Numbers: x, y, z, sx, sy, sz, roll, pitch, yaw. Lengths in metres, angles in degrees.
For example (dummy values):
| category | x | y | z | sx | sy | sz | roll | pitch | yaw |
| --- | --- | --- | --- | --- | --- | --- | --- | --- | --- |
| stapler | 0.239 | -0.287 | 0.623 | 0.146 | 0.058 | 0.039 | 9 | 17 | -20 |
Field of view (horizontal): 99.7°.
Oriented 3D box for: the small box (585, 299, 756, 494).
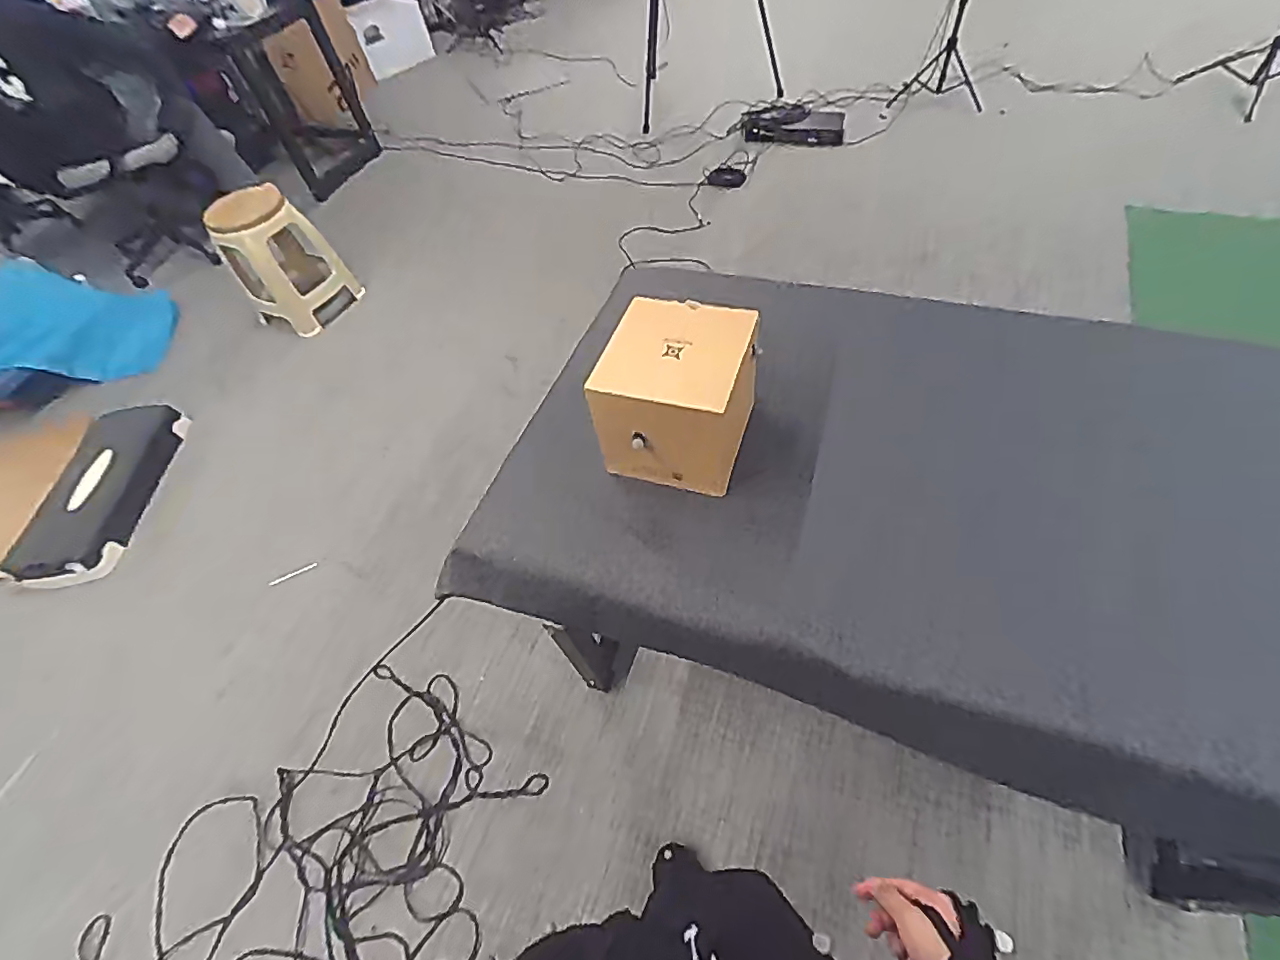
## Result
| category | x | y | z | sx | sy | sz | roll | pitch | yaw |
| --- | --- | --- | --- | --- | --- | --- | --- | --- | --- |
| small box | 0.049 | -0.105 | 0.699 | 0.168 | 0.176 | 0.179 | 12 | 56 | 16 |
